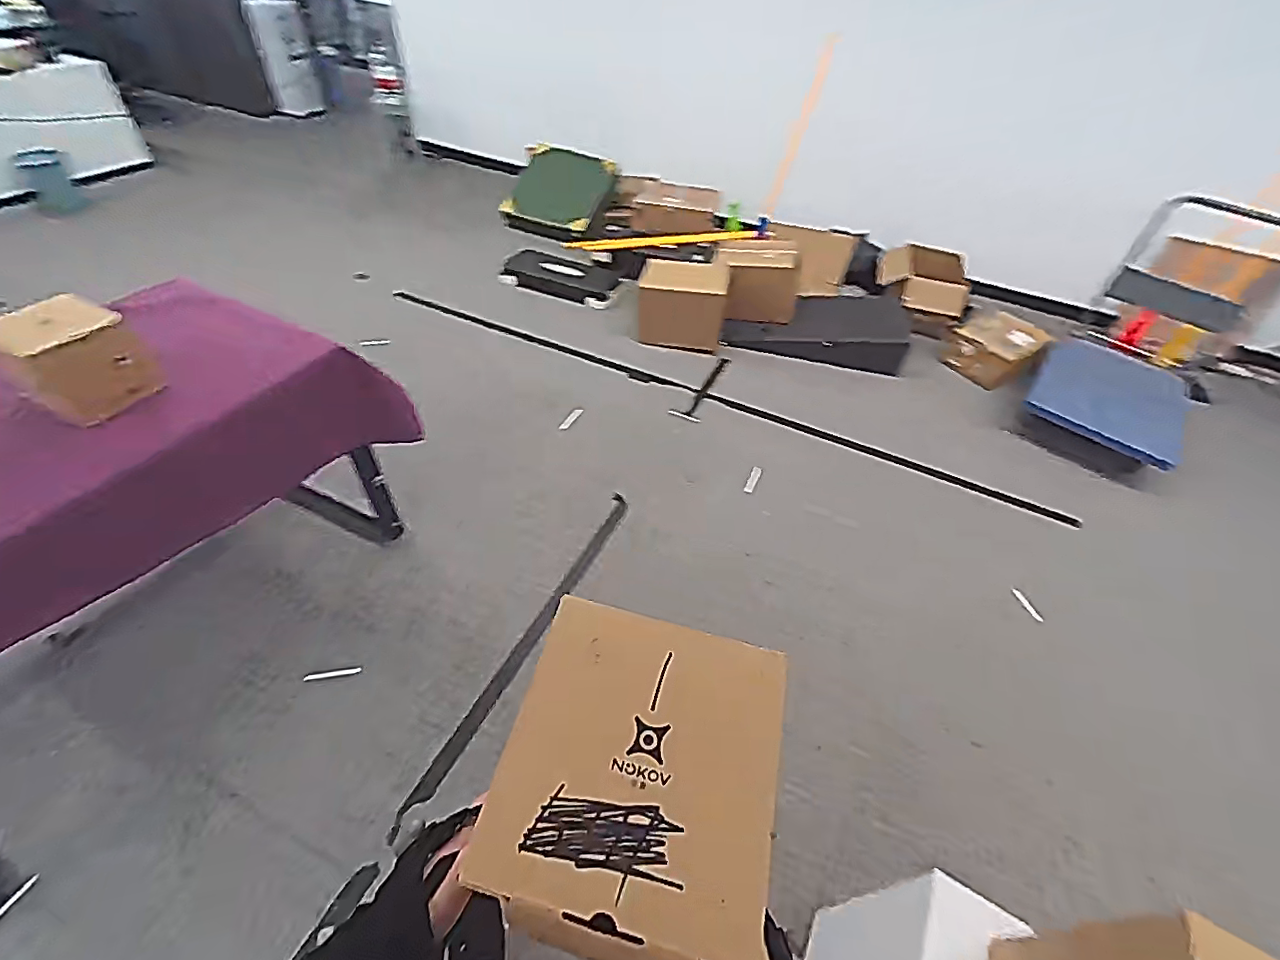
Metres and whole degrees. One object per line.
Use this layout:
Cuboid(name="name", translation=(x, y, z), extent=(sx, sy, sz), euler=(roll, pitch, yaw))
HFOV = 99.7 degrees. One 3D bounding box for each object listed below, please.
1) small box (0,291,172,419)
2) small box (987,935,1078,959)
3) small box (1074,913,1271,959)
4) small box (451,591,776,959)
Cuboid(name="small box", translation=(-1.105, -0.246, 1.081), extent=(0.179, 0.176, 0.168), euler=(22, 48, 15))
Cuboid(name="small box", translation=(0.509, 0.650, 0.596), extent=(0.179, 0.176, 0.168), euler=(28, 50, 18))
Cuboid(name="small box", translation=(0.520, 0.536, 0.478), extent=(0.168, 0.176, 0.179), euler=(27, 50, 19))
Cuboid(name="small box", translation=(-0.009, 0.213, 0.398), extent=(0.168, 0.176, 0.179), euler=(14, 53, 6))
